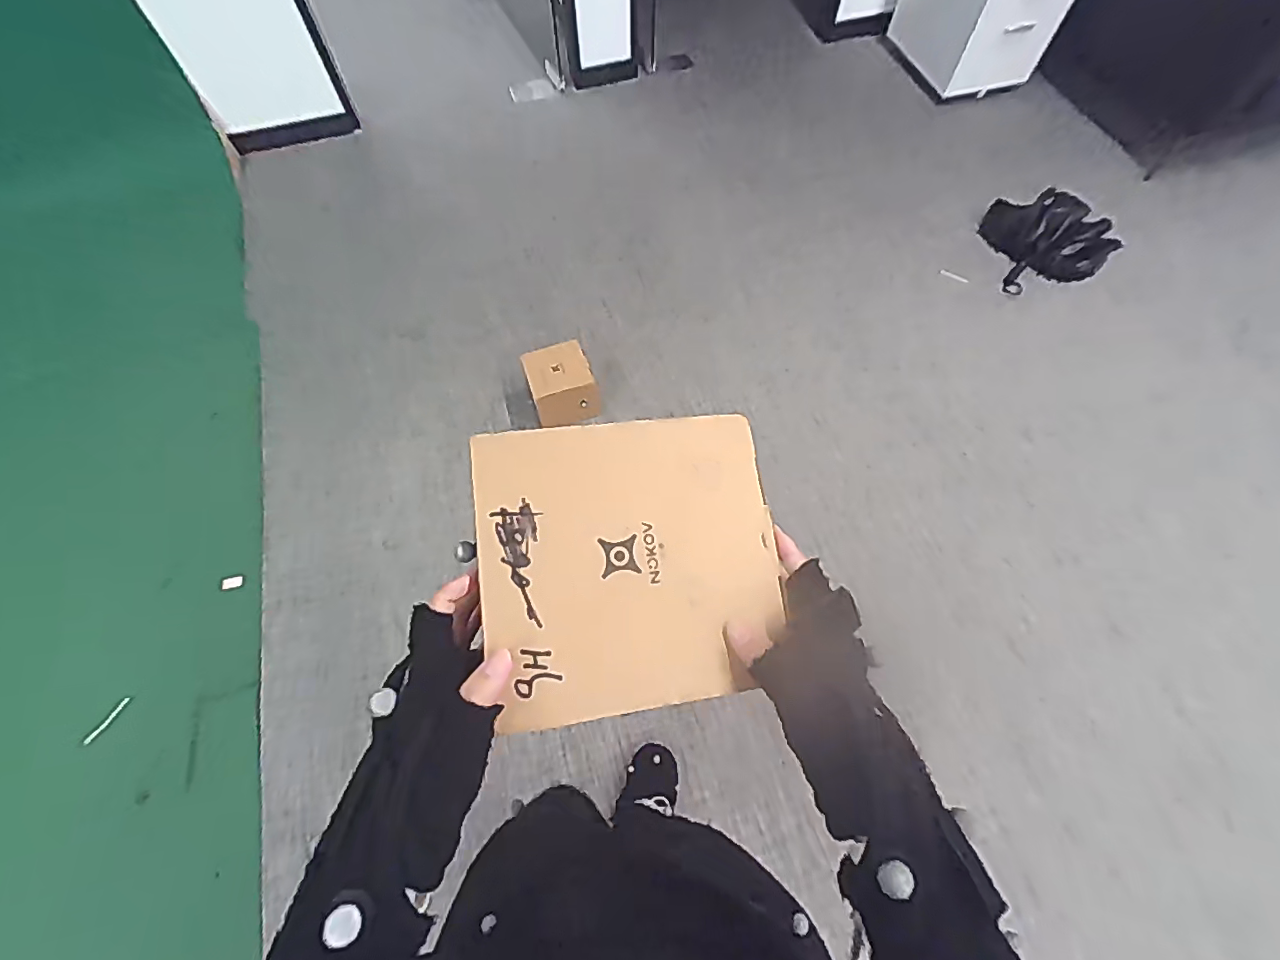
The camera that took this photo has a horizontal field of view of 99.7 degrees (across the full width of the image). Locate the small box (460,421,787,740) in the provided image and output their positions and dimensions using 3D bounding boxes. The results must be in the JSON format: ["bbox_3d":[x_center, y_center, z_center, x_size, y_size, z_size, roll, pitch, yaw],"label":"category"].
[{"bbox_3d":[-0.024,0.070,0.394,0.179,0.176,0.168,-8,75,-12],"label":"small box"}]

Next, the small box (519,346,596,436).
[{"bbox_3d":[-0.235,-0.255,1.580,0.179,0.176,0.168,-19,64,-8],"label":"small box"}]
